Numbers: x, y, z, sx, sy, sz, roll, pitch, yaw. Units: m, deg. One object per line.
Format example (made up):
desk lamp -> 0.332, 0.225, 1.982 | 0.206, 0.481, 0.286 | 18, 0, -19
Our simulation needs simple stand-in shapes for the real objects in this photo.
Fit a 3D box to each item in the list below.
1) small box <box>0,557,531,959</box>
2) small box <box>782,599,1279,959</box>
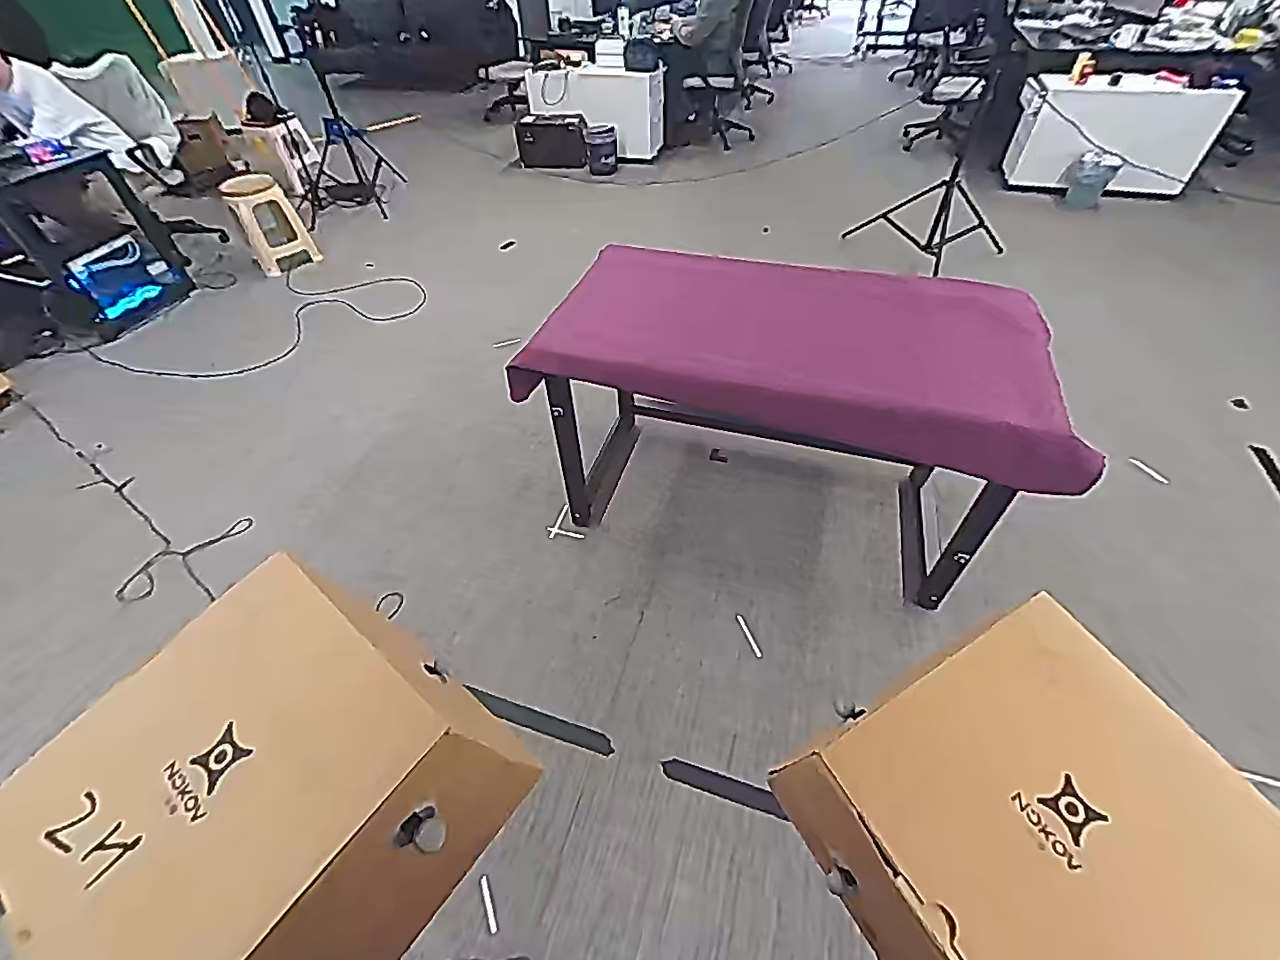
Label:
small box -> -0.187, 0.186, 0.326 | 0.168, 0.176, 0.179 | 30, 66, 26
small box -> 0.214, 0.207, 0.337 | 0.179, 0.176, 0.168 | -28, 61, -14
